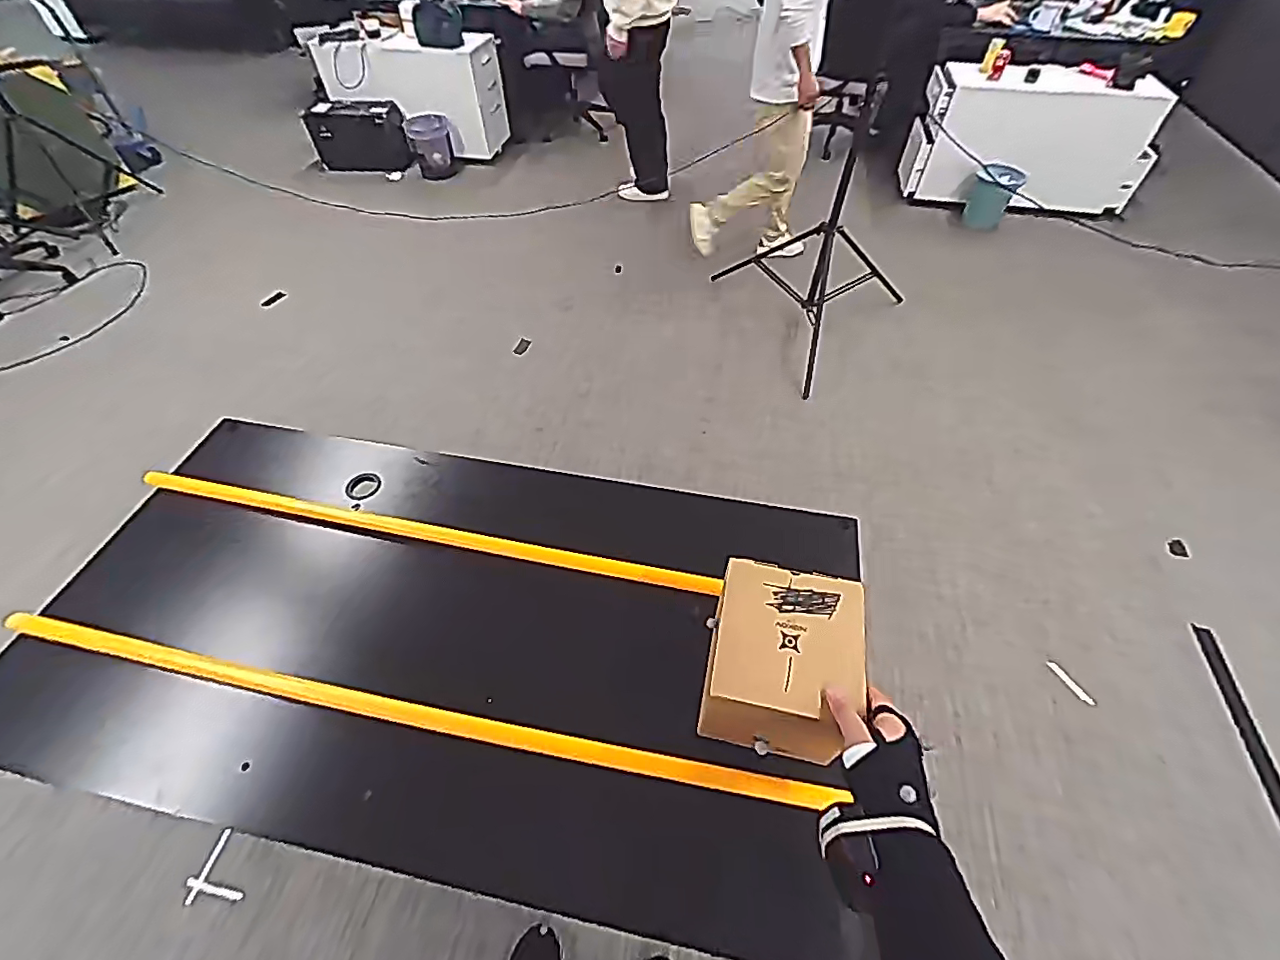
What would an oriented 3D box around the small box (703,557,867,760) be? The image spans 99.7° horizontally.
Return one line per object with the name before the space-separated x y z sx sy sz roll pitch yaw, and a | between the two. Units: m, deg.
small box | 0.176 0.227 0.684 0.168 0.176 0.179 10 52 9
